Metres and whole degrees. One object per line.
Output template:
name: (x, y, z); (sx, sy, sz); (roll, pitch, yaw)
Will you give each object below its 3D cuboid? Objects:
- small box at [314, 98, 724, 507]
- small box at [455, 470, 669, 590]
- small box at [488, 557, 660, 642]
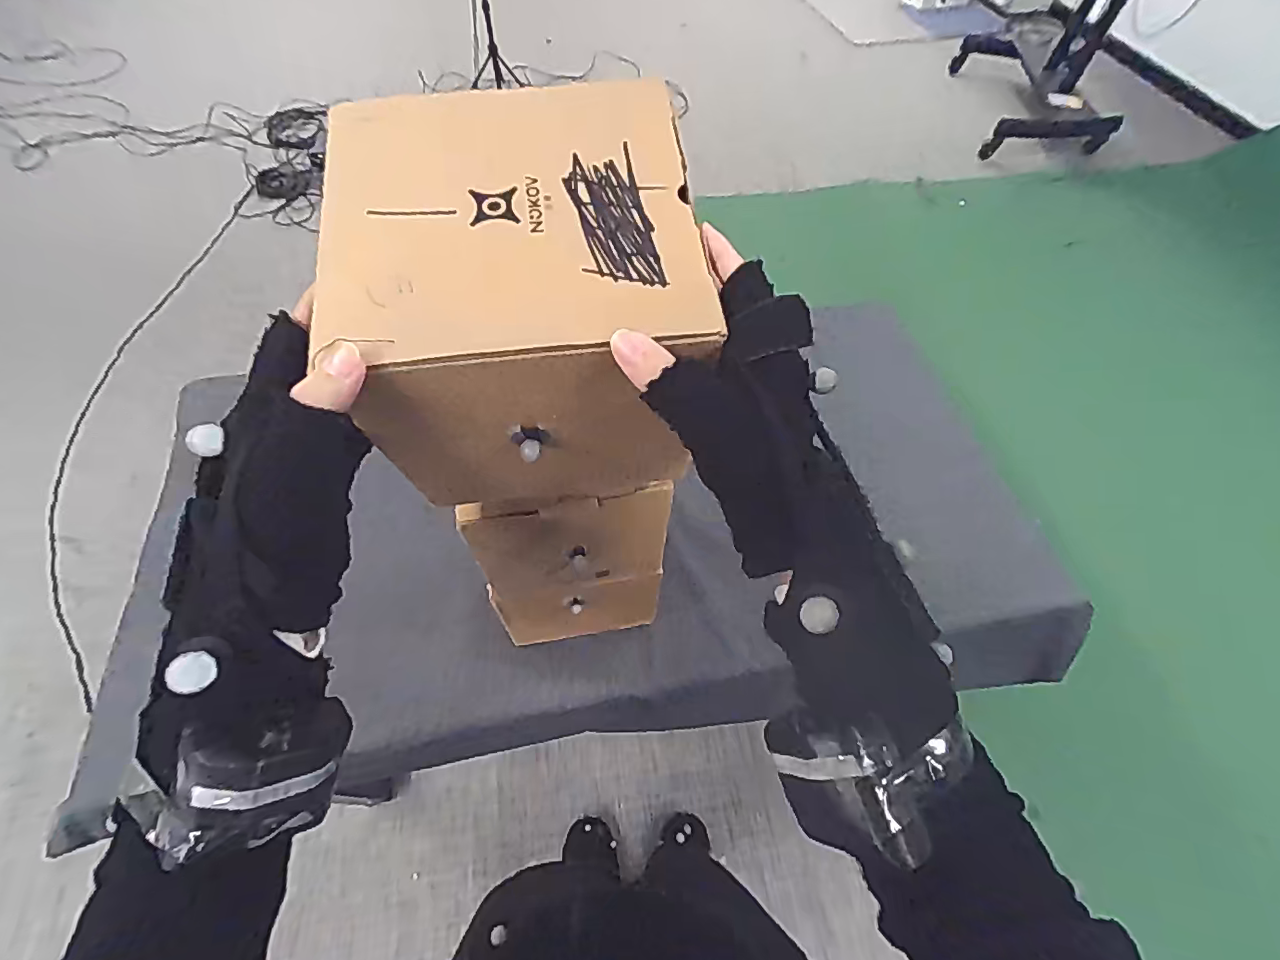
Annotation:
small box: (-0.062, -0.093, 0.332); (0.179, 0.176, 0.168); (-7, 68, -5)
small box: (-0.073, -0.007, 0.512); (0.168, 0.176, 0.179); (-10, 60, -8)
small box: (-0.079, 0.083, 0.648); (0.179, 0.176, 0.168); (-7, 59, -8)
